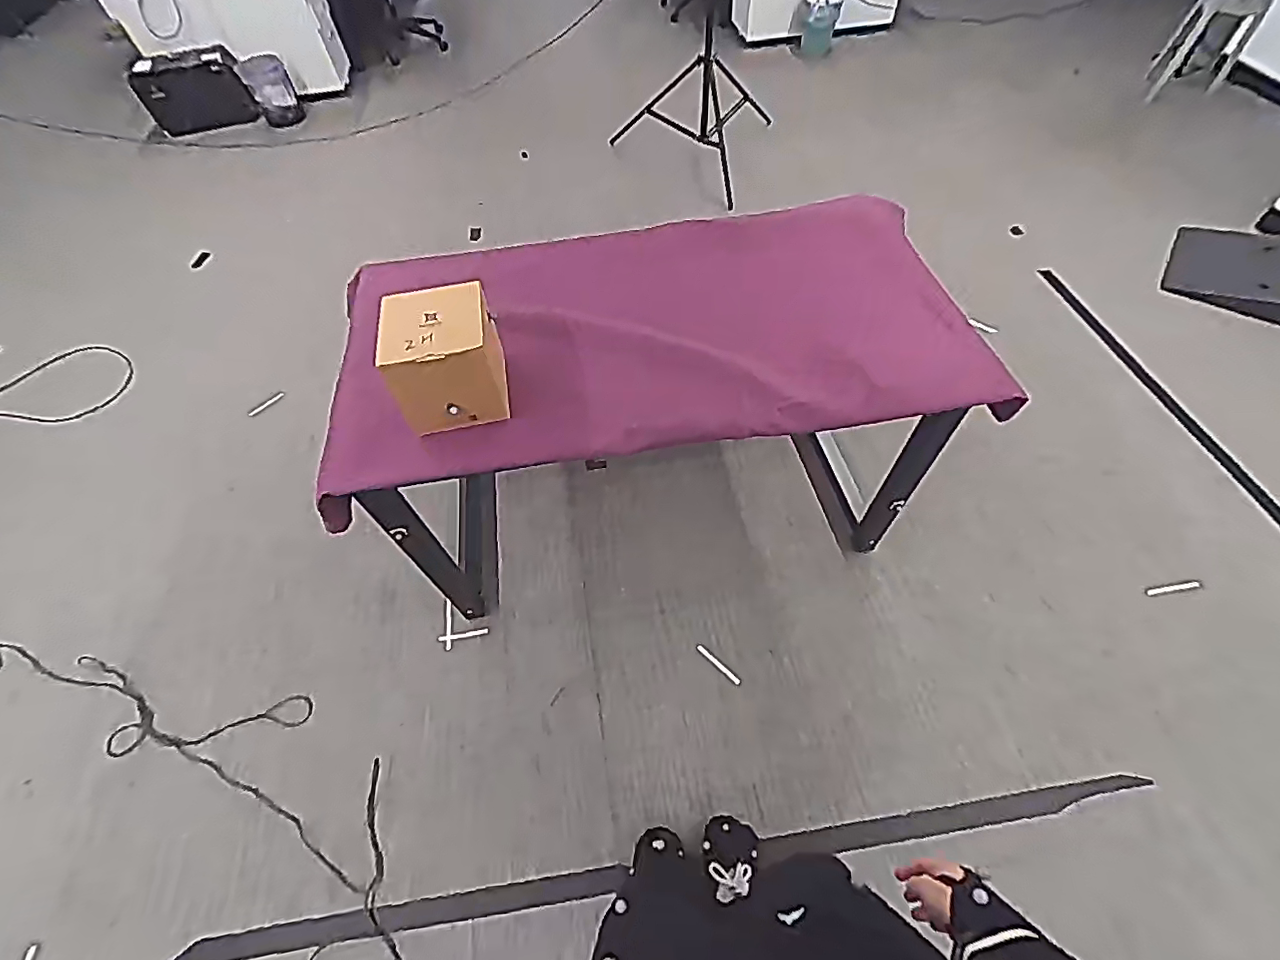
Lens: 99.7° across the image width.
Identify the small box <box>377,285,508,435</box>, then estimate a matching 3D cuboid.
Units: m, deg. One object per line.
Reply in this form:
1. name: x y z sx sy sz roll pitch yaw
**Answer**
1. small box: -0.333 -0.206 0.941 0.168 0.176 0.179 -11 56 -4
